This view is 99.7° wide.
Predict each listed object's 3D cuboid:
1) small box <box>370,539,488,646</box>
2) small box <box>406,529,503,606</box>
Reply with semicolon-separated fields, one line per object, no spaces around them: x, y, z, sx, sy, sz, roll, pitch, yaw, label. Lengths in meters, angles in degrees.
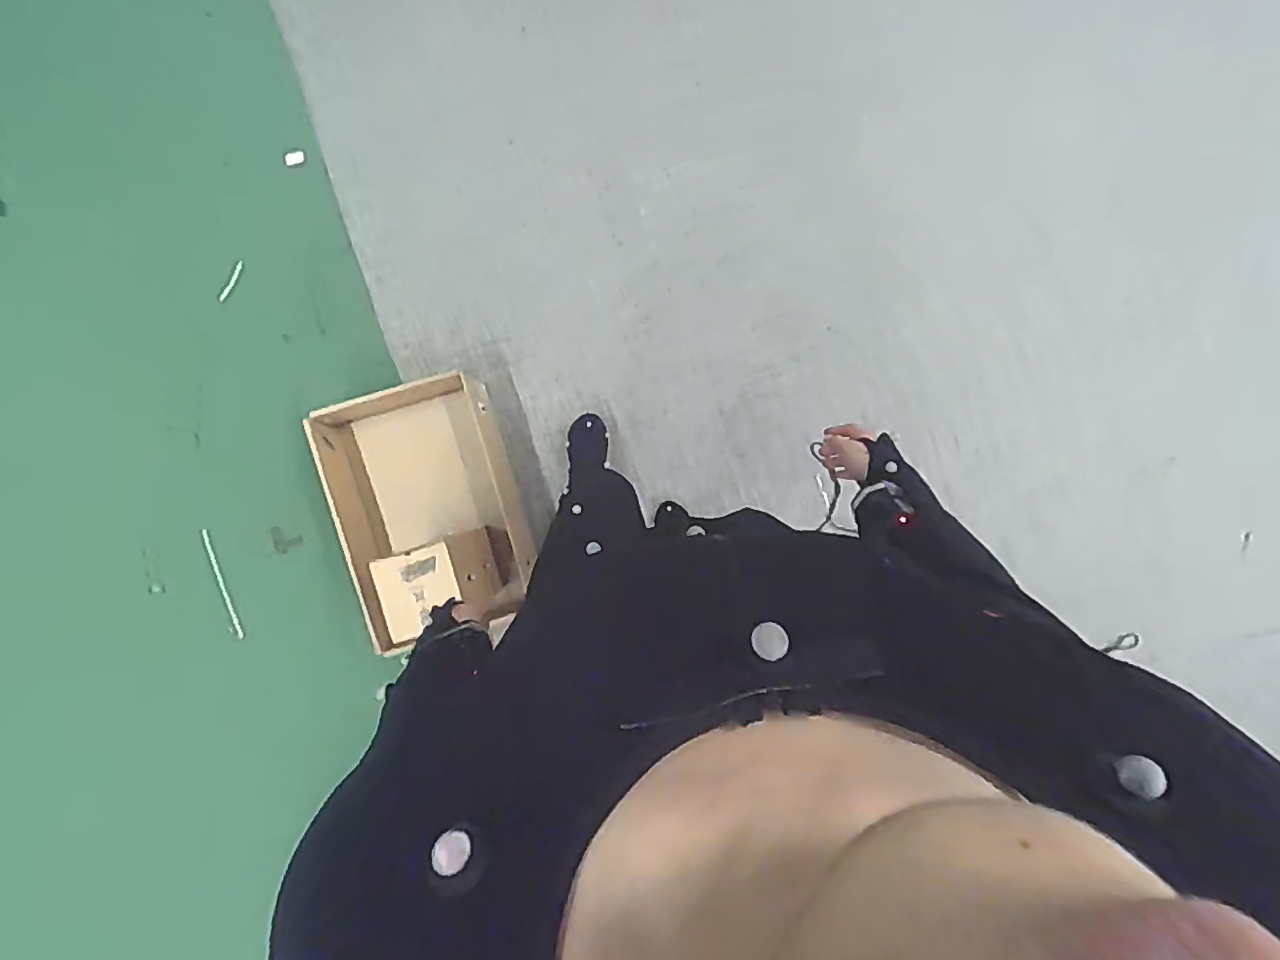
-0.447;0.232;1.171;0.168;0.176;0.179;-16;91;-1;small box
-0.454;0.232;1.336;0.168;0.176;0.179;-17;90;-2;small box
